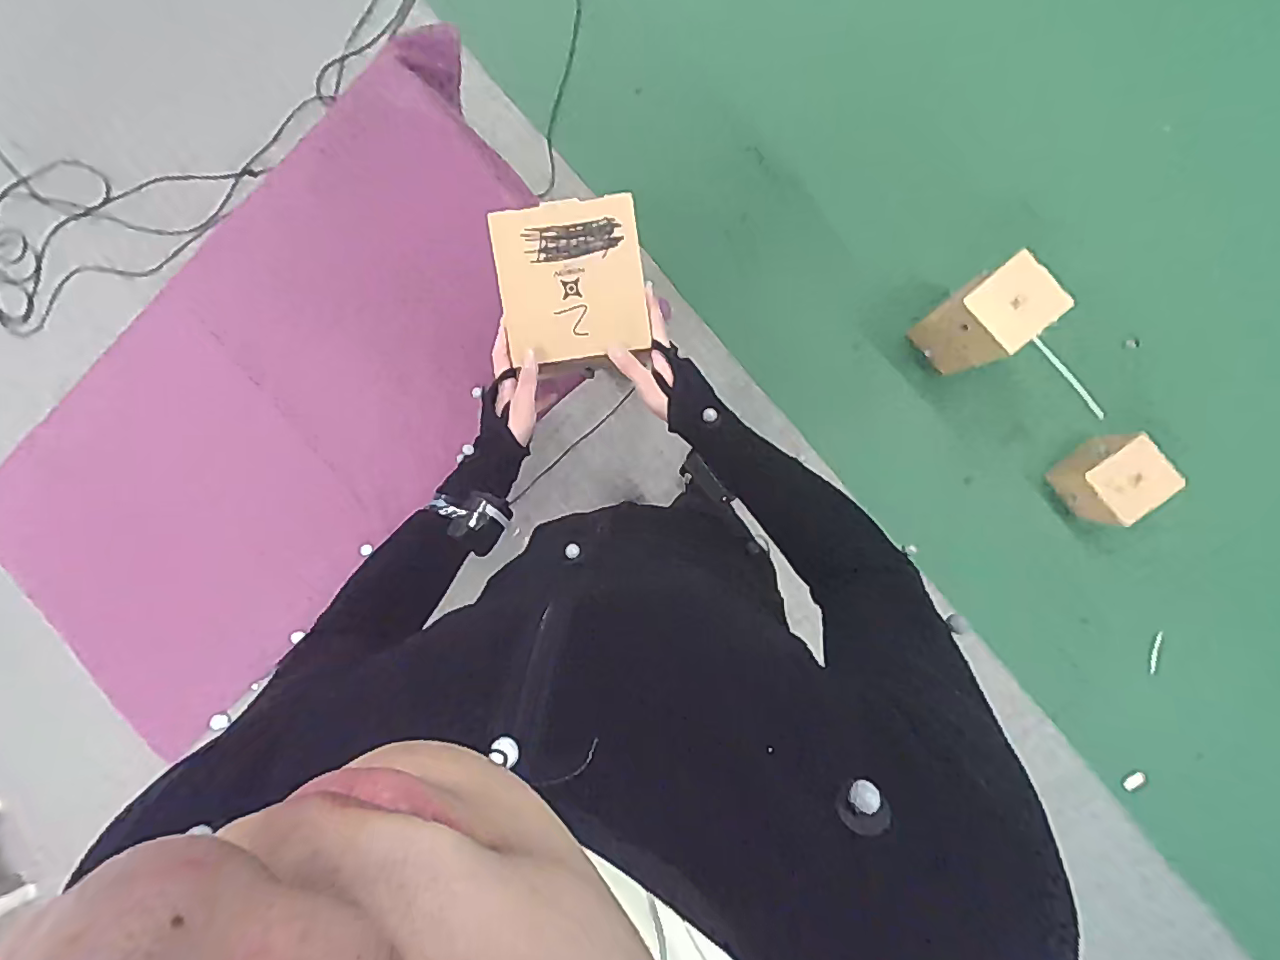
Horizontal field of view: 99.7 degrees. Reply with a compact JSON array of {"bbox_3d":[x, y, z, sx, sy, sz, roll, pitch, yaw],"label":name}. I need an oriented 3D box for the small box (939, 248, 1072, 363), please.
[{"bbox_3d":[0.849,-0.402,1.285,0.179,0.176,0.168,-41,87,5],"label":"small box"}]

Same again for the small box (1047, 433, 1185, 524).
[{"bbox_3d":[1.238,-0.008,1.422,0.179,0.176,0.168,-39,88,7],"label":"small box"}]

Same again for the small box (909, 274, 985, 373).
[{"bbox_3d":[0.865,-0.410,1.445,0.179,0.176,0.168,-41,87,7],"label":"small box"}]
